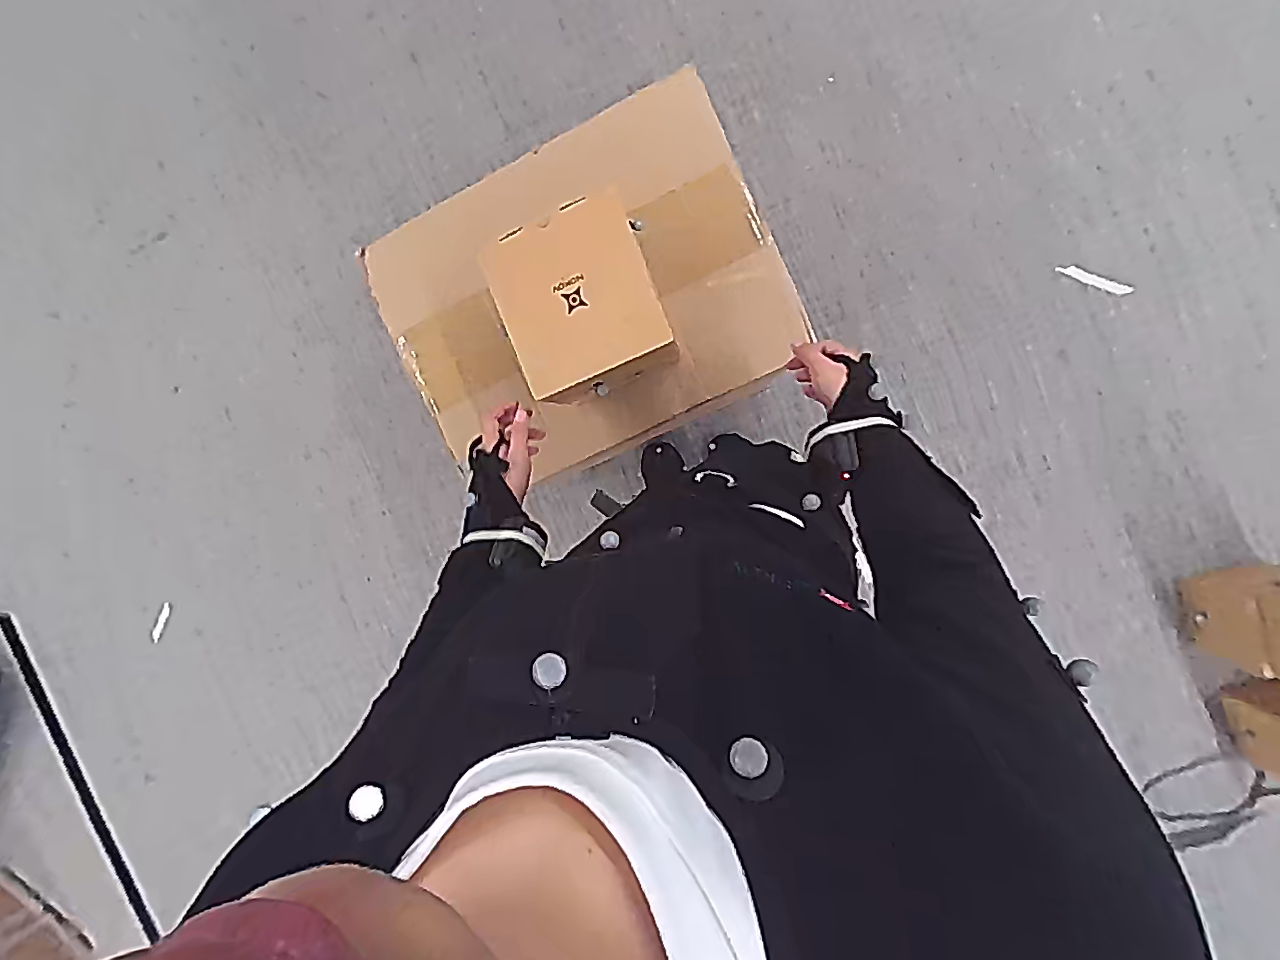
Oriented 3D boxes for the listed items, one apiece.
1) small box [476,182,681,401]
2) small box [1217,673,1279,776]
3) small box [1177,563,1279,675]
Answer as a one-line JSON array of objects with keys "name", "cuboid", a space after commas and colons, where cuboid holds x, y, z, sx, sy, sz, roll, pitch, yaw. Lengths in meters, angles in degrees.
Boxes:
[{"name": "small box", "cuboid": [-0.057, -0.202, 0.640, 0.168, 0.176, 0.179, -22, 92, 9]}, {"name": "small box", "cuboid": [1.420, 0.530, 1.153, 0.179, 0.176, 0.168, -21, 90, 9]}, {"name": "small box", "cuboid": [1.316, 0.286, 1.147, 0.179, 0.176, 0.168, -15, 92, 9]}]
